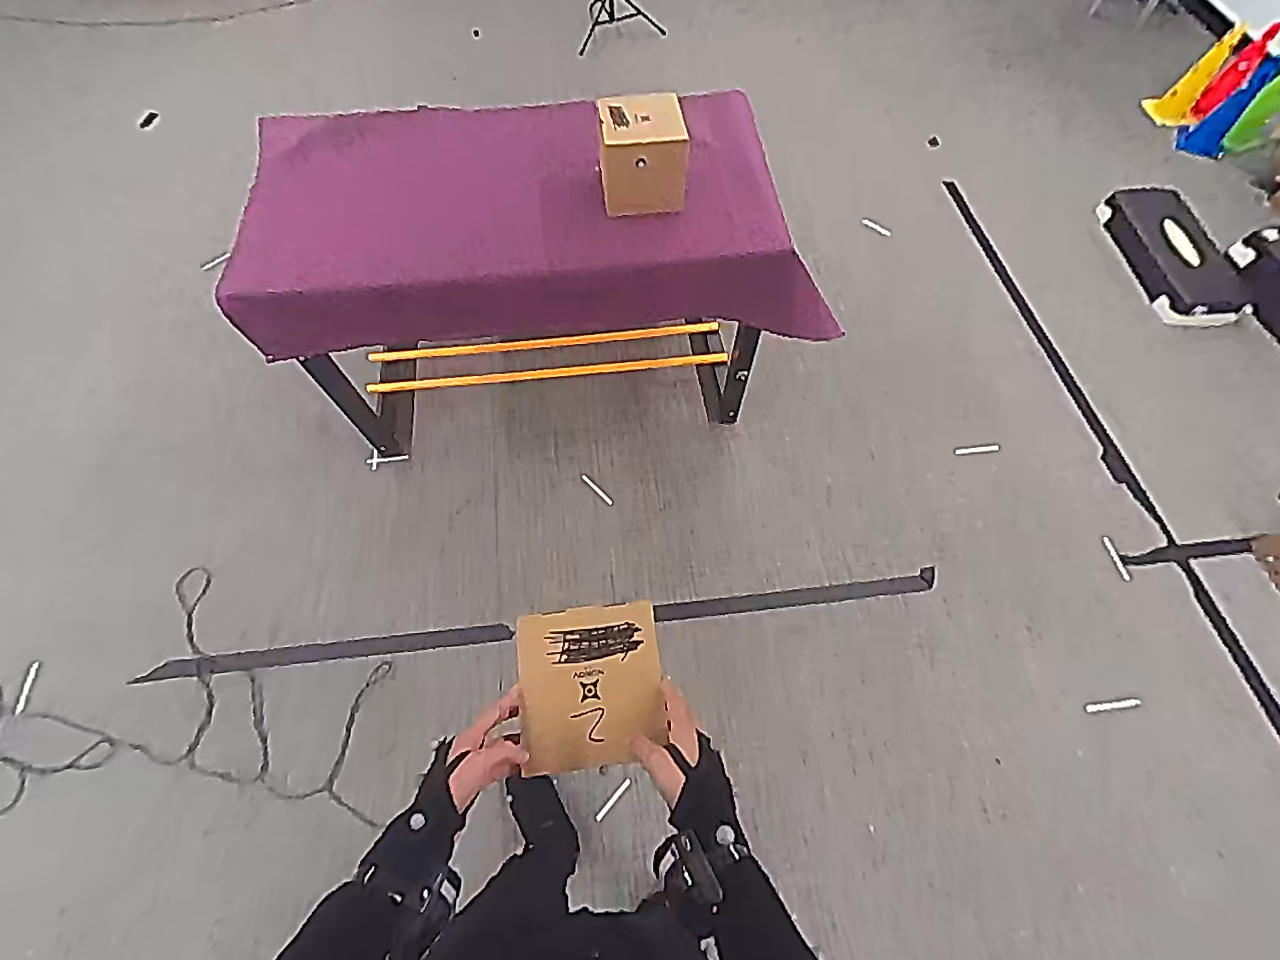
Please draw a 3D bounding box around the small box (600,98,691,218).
[{"bbox_3d":[0.011,-0.704,1.195,0.179,0.176,0.168,-6,64,-4],"label":"small box"}]
